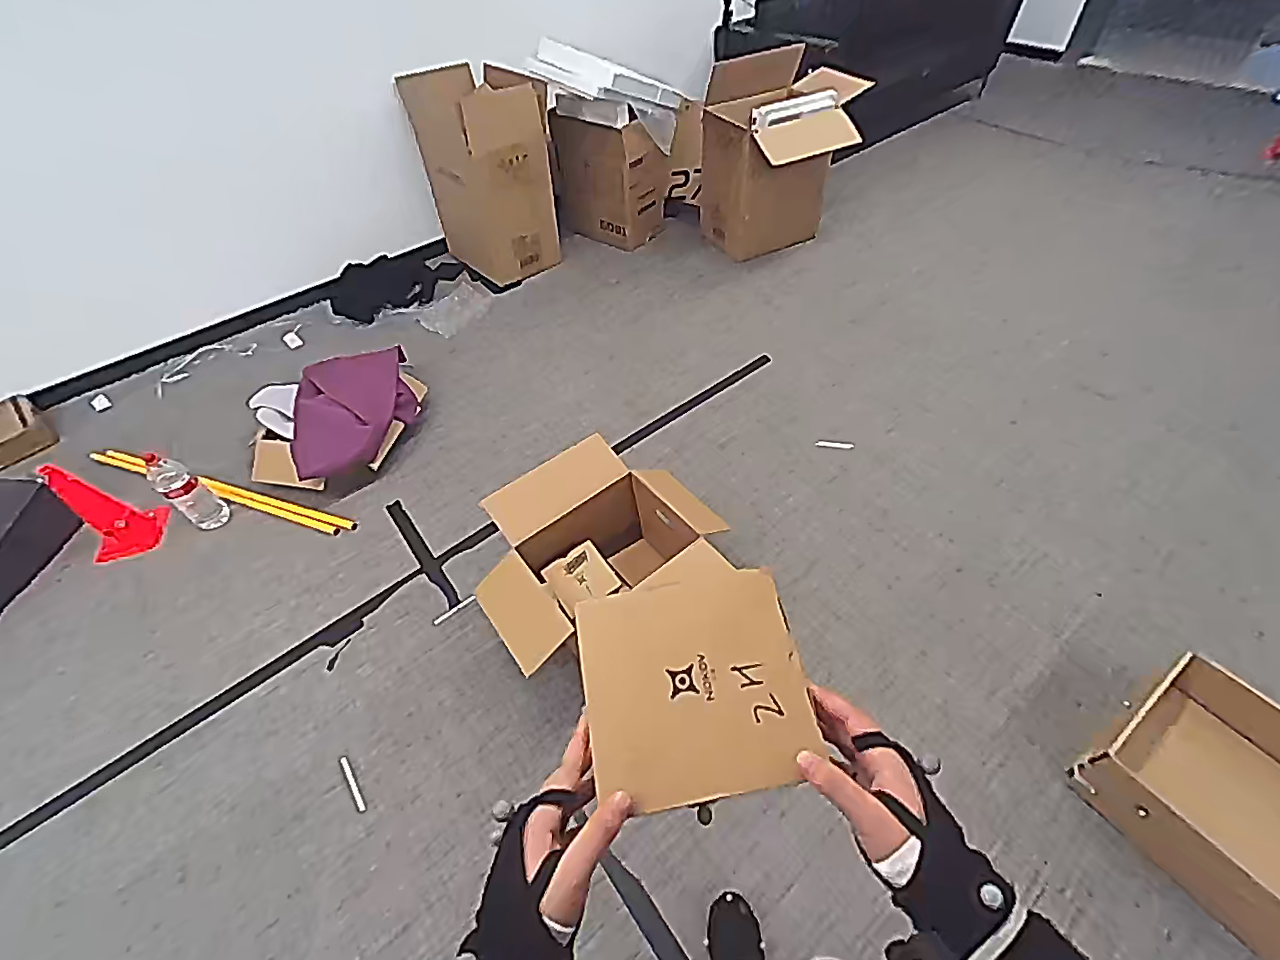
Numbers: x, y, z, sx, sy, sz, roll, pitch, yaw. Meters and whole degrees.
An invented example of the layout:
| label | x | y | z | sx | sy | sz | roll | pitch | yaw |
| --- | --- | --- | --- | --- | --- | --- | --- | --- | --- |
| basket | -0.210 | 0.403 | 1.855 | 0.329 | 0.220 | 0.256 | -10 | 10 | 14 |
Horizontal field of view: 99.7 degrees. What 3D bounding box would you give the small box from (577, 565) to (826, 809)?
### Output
| label | x | y | z | sx | sy | sz | roll | pitch | yaw |
| --- | --- | --- | --- | --- | --- | --- | --- | --- | --- |
| small box | 0.048 | 0.200 | 0.508 | 0.179 | 0.176 | 0.168 | -11 | 61 | -2 |
